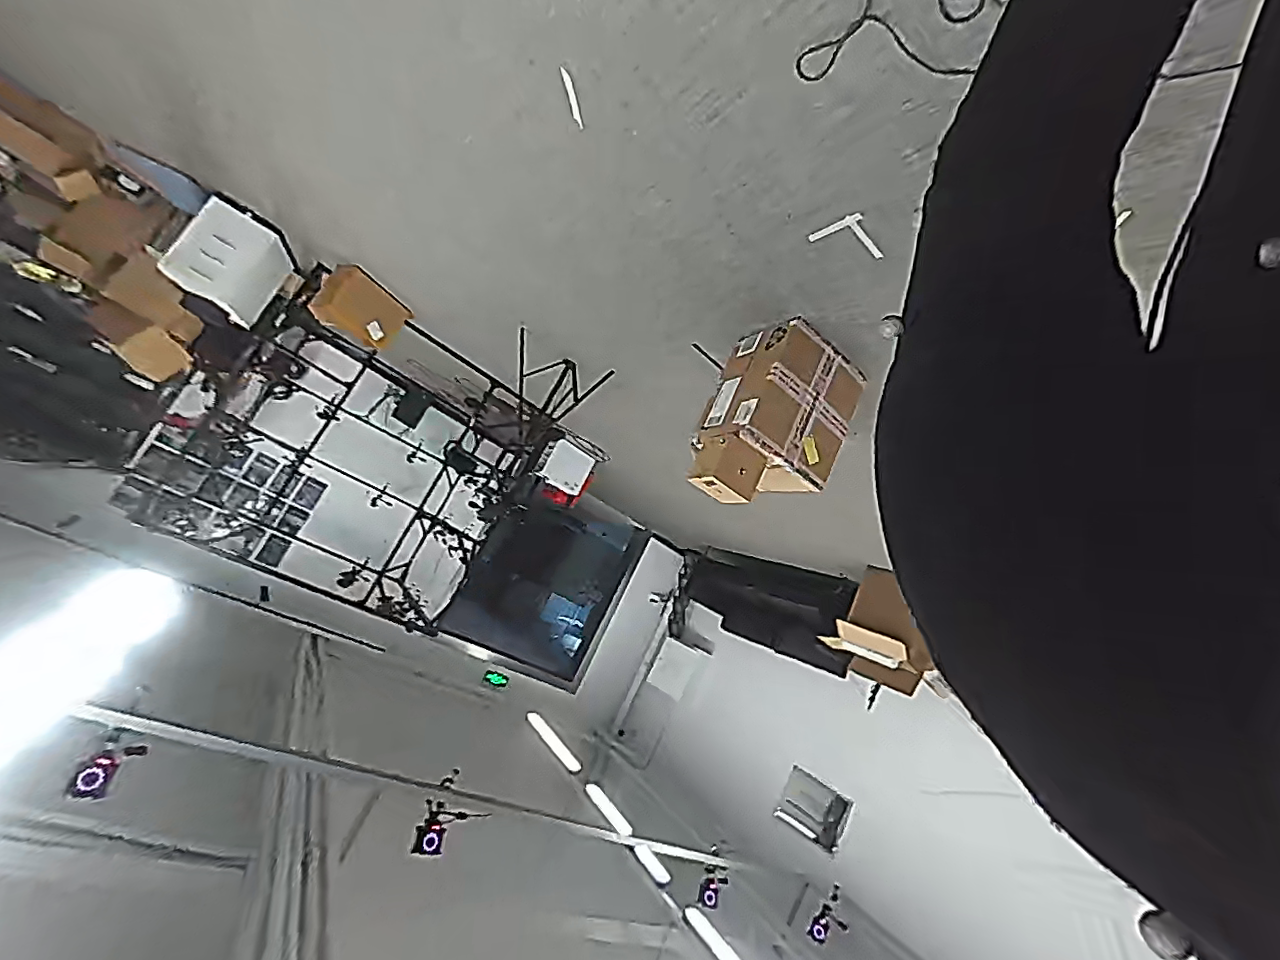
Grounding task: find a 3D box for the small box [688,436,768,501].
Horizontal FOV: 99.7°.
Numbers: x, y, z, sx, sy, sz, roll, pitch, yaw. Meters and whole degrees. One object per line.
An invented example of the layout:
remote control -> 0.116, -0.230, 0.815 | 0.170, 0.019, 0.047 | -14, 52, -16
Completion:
small box -> 0.304, -0.042, 1.860 | 0.179, 0.176, 0.168 | 32, 164, -21
